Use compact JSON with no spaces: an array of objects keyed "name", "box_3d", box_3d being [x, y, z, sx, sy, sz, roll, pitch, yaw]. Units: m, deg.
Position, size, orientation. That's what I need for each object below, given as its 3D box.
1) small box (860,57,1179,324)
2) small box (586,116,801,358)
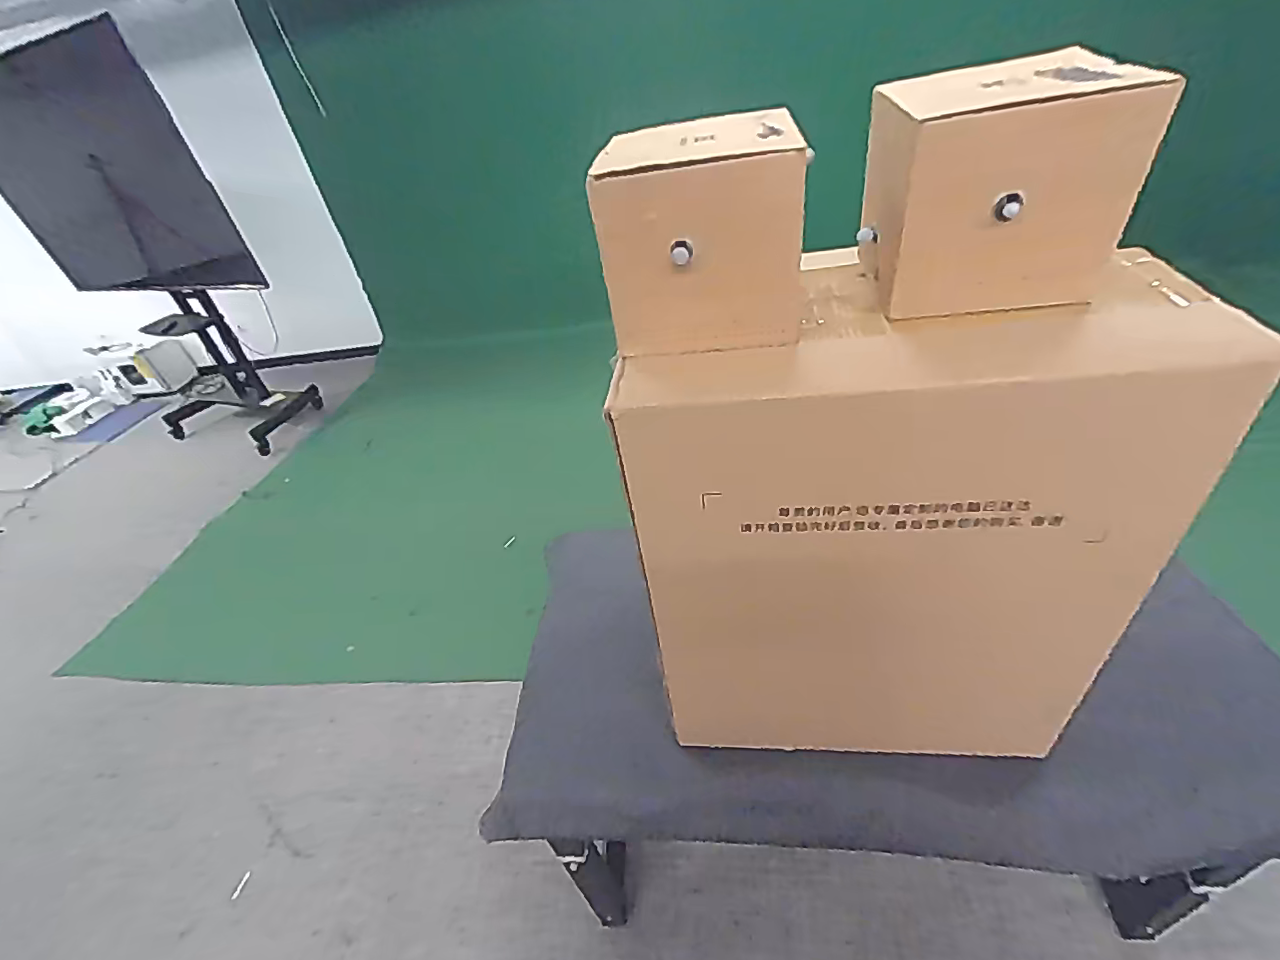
[{"name":"small box","box_3d":[0.317,-0.264,0.504,0.179,0.176,0.168,-3,42,12]},{"name":"small box","box_3d":[0.063,-0.234,0.536,0.179,0.176,0.168,-3,42,11]}]
